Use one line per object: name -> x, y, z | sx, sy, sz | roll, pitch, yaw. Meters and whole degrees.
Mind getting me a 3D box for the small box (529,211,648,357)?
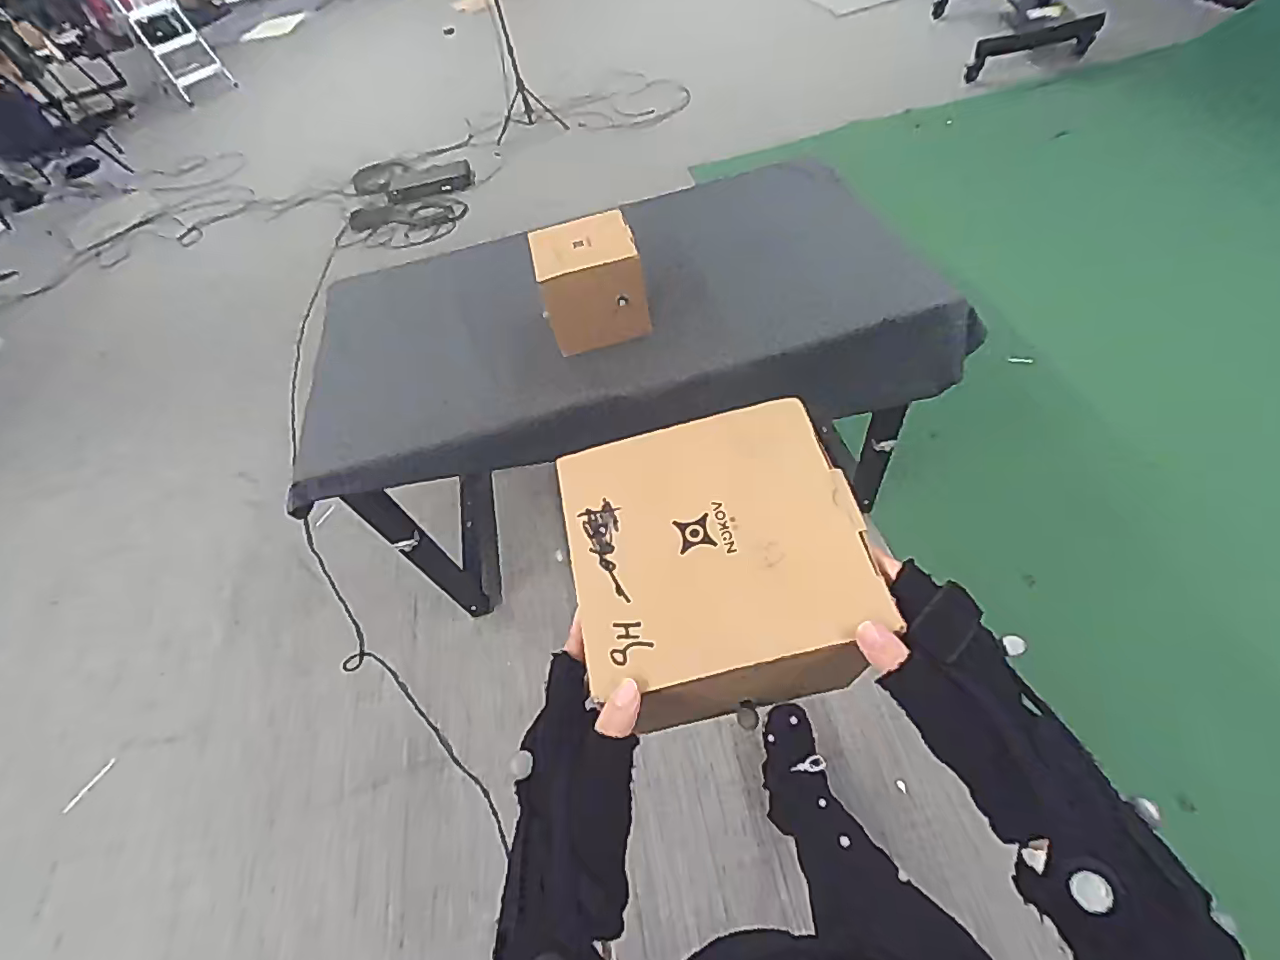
small box -> -0.090, -0.360, 1.003 | 0.179, 0.176, 0.168 | -17, 53, 0
